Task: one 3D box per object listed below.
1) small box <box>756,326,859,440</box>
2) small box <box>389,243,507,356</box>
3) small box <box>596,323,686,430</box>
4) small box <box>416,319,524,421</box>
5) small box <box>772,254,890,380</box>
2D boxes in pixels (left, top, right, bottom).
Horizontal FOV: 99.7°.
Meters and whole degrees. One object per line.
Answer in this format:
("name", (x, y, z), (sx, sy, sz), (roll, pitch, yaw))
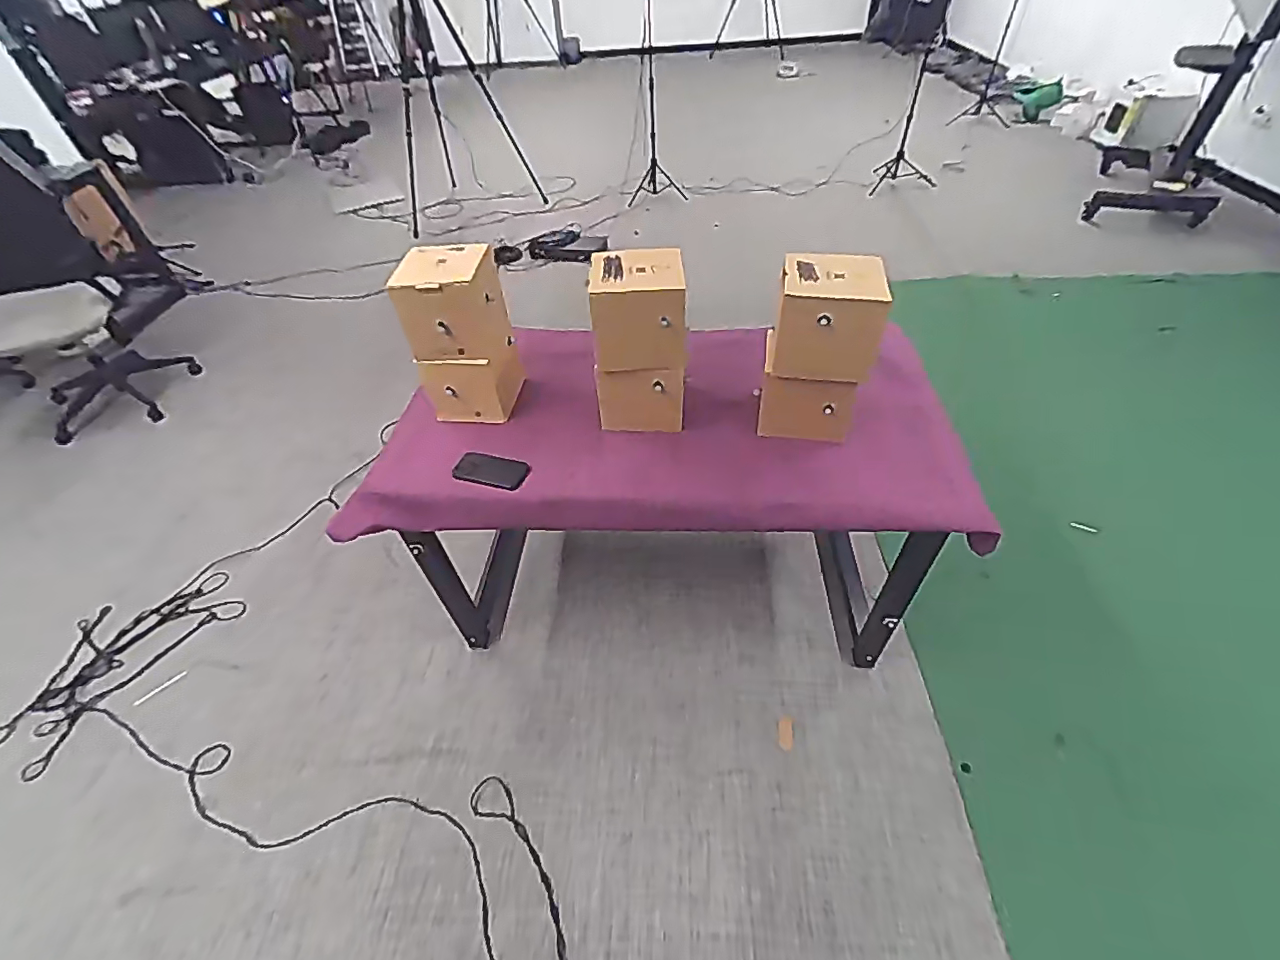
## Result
("small box", (0.346, -0.200, 1.133), (0.179, 0.176, 0.168), (7, 47, 11))
("small box", (-0.385, -0.369, 1.123), (0.168, 0.176, 0.179), (-1, 47, 3))
("small box", (0.009, -0.223, 1.179), (0.179, 0.176, 0.168), (2, 47, 6))
("small box", (-0.376, -0.250, 1.236), (0.168, 0.176, 0.179), (2, 47, 7))
("small box", (0.344, -0.301, 1.004), (0.179, 0.176, 0.168), (7, 47, 10))
